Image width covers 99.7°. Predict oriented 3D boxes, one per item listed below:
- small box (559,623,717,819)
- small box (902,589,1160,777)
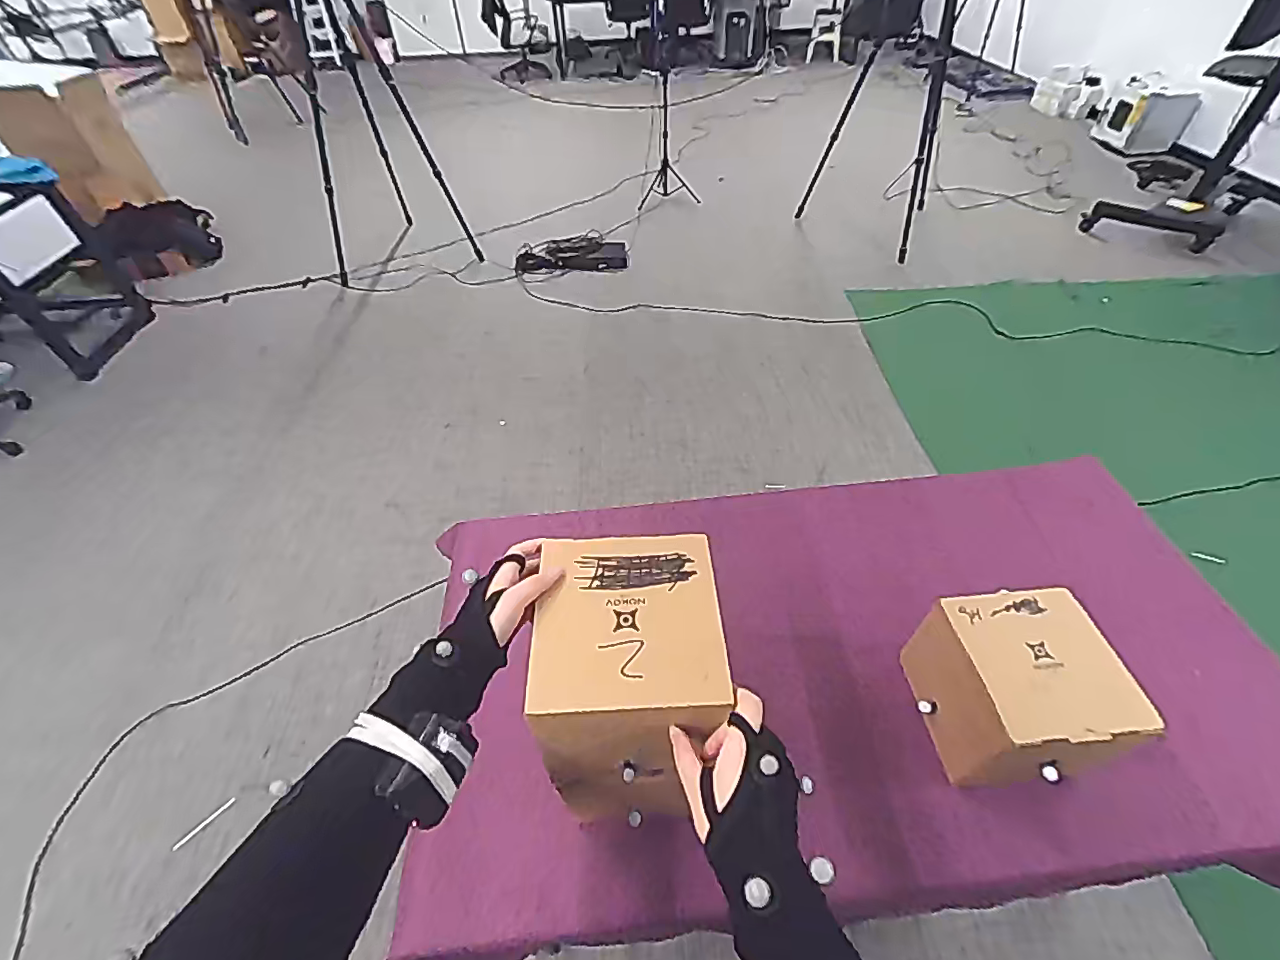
[{"bbox_3d":[-0.003,0.296,0.664,0.168,0.176,0.179,-3,48,0],"label":"small box"},{"bbox_3d":[0.461,0.259,0.677,0.168,0.176,0.179,-4,48,-1],"label":"small box"}]
